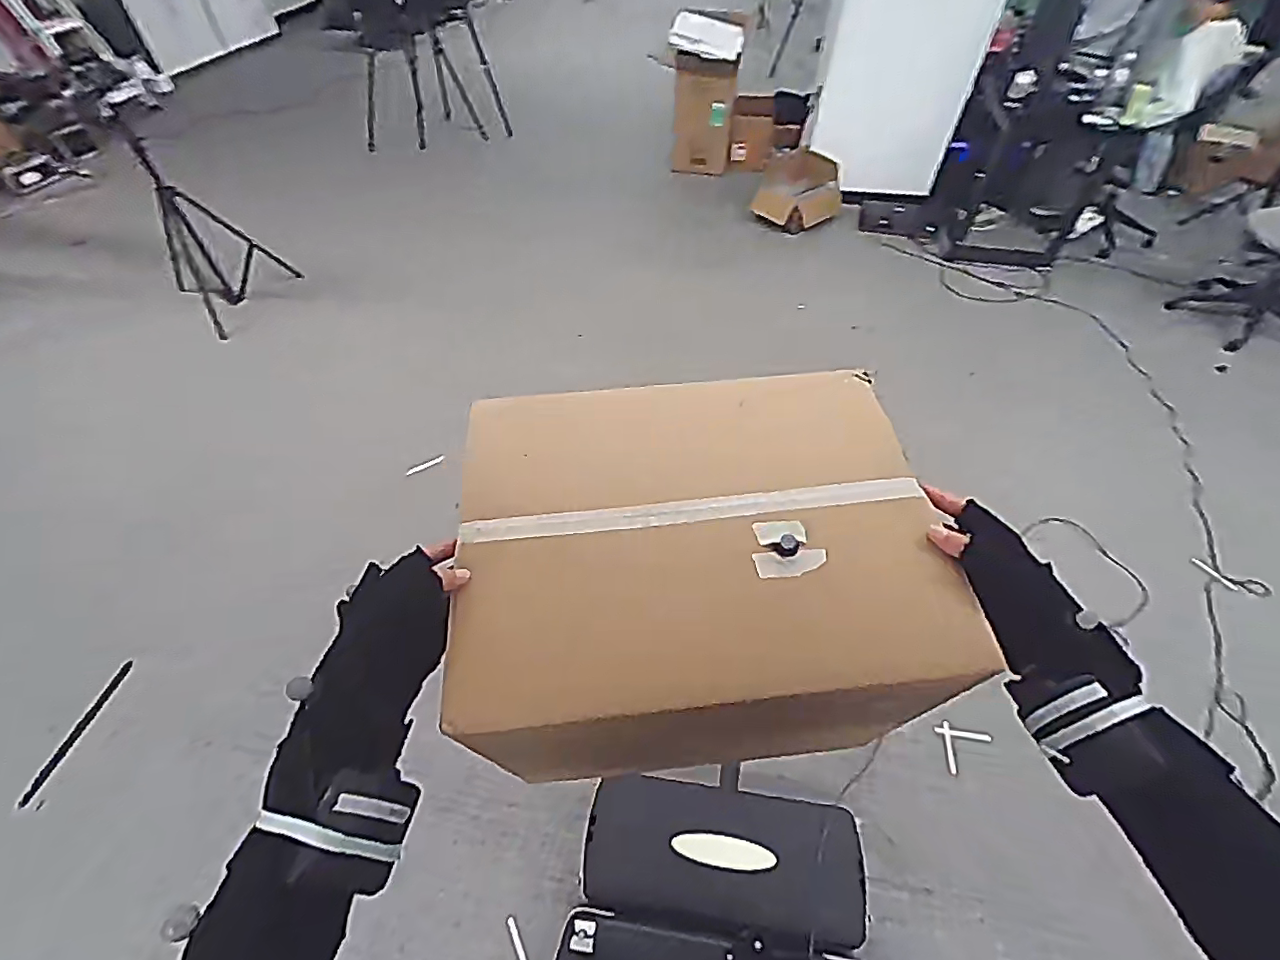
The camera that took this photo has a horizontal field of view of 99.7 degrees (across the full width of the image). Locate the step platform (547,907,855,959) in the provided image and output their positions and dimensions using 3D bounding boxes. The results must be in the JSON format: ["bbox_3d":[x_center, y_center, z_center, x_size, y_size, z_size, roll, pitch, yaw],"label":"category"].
[{"bbox_3d":[0.129,1.112,1.116,0.684,0.204,0.286,5,51,6],"label":"step platform"}]

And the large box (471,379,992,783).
[{"bbox_3d":[0.056,0.121,0.603,0.408,0.320,0.320,-5,55,-3],"label":"large box"}]
